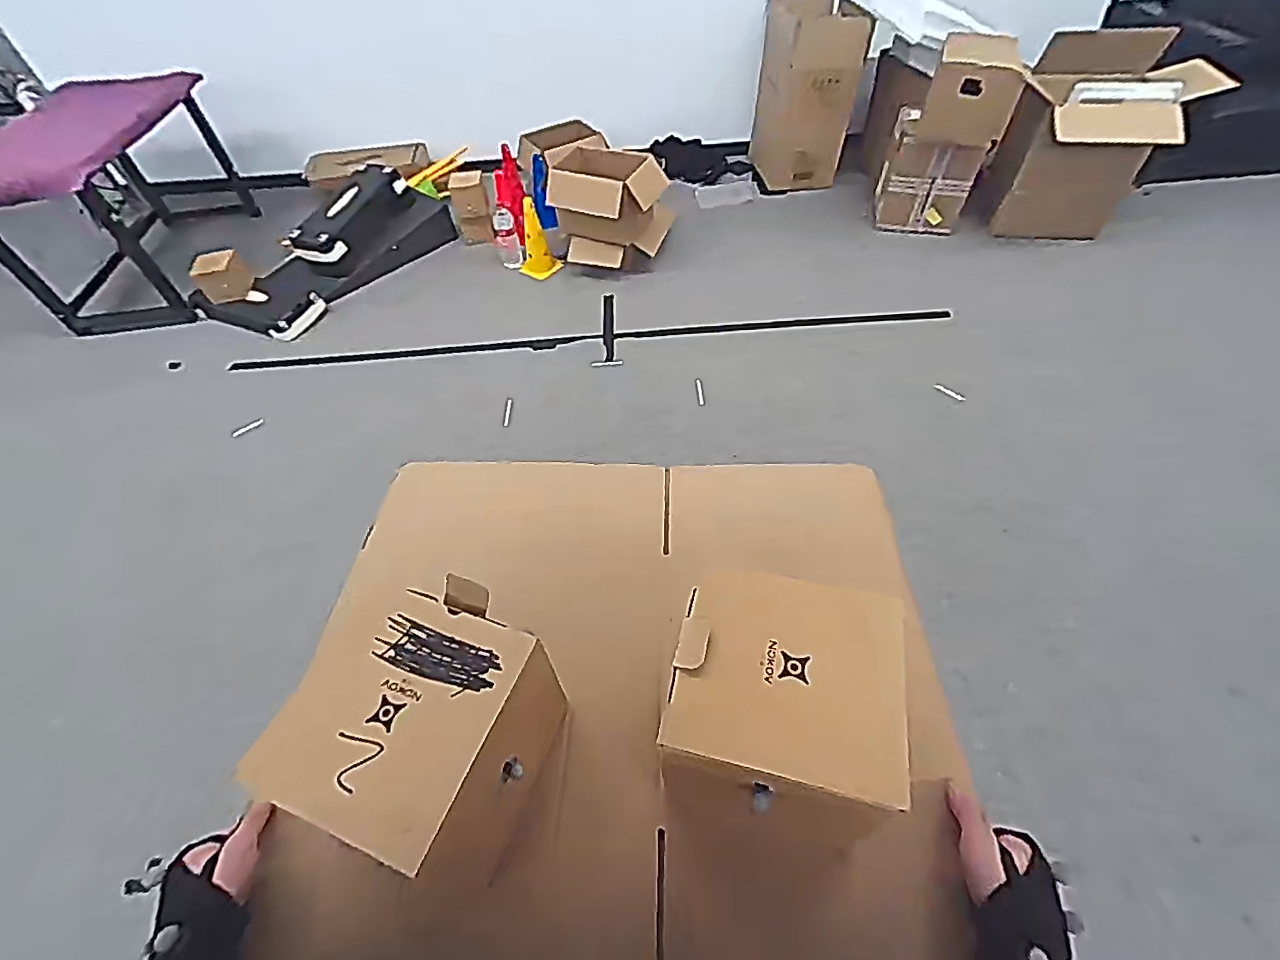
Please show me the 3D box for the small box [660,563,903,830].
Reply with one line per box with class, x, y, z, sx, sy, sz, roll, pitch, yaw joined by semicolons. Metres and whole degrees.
small box;0.126;0.203;0.500;0.179;0.176;0.168;8;51;14
